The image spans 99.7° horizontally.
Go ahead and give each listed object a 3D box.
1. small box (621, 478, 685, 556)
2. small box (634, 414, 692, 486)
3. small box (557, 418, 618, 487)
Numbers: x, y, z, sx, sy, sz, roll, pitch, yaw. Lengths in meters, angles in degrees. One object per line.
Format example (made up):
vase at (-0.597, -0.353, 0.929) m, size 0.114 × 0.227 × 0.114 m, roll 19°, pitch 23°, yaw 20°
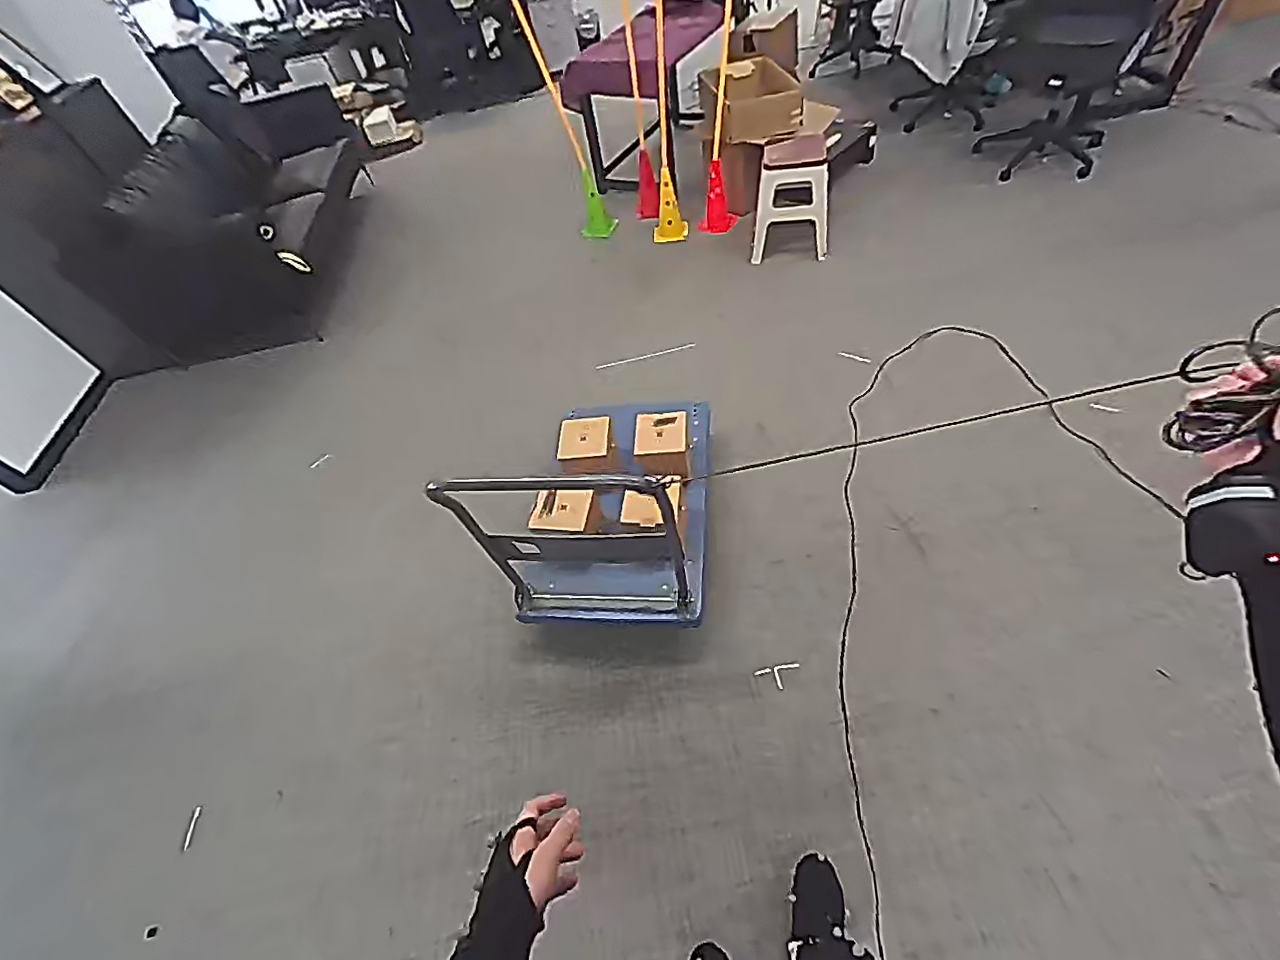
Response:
small box at (0.046, 0.112, 1.649) m, size 0.168 × 0.176 × 0.179 m, roll 0°, pitch 54°, yaw 11°
small box at (0.081, -0.098, 1.800) m, size 0.168 × 0.176 × 0.179 m, roll -3°, pitch 53°, yaw 10°
small box at (-0.172, -0.087, 1.843) m, size 0.168 × 0.176 × 0.179 m, roll -3°, pitch 52°, yaw 8°
